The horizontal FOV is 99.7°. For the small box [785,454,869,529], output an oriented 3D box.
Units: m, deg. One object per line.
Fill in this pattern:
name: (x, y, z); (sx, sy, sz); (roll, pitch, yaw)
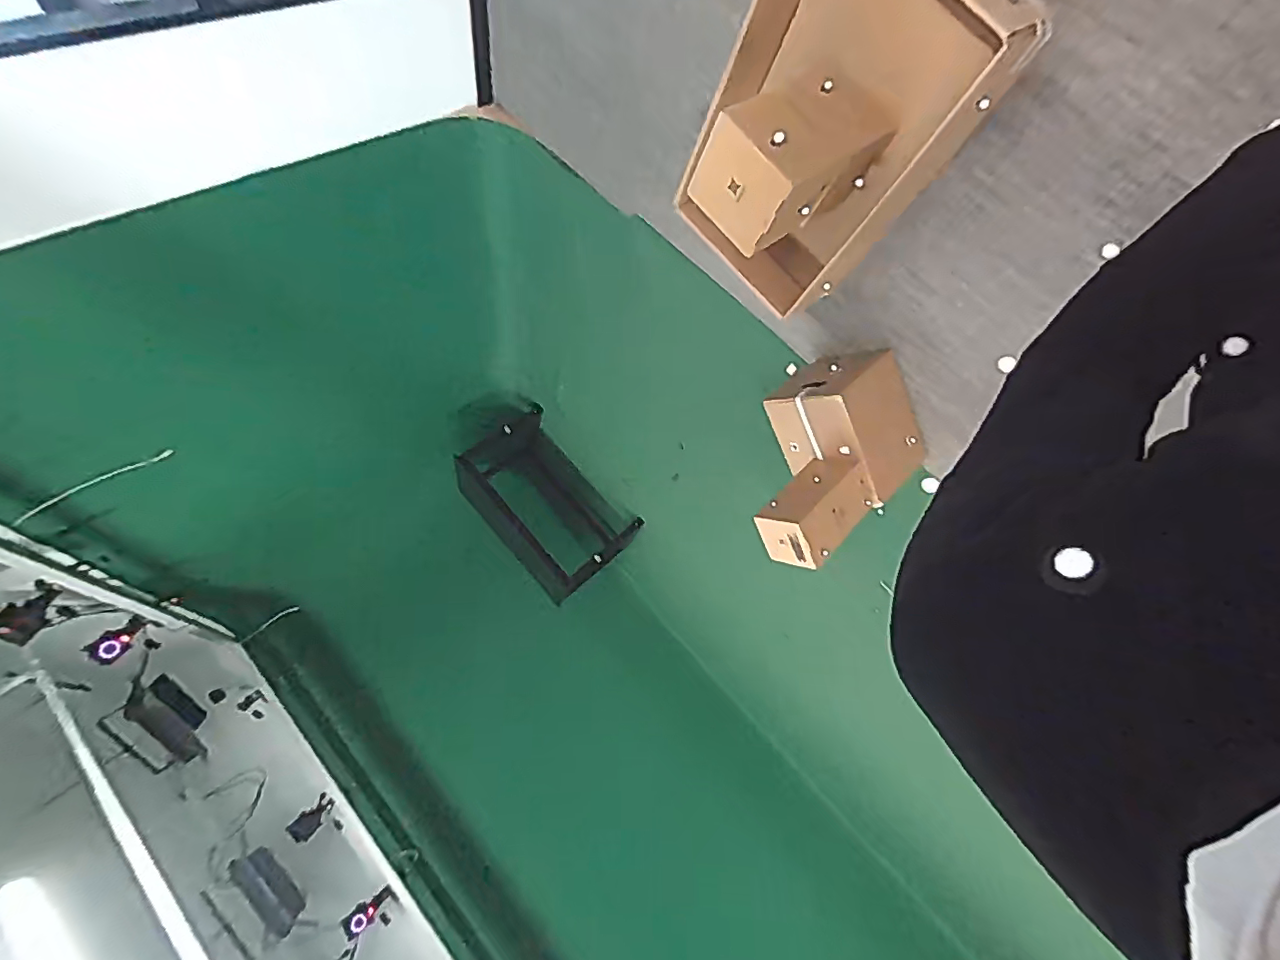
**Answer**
small box: (0.595, 0.031, 1.702); (0.179, 0.176, 0.168); (8, 130, 54)

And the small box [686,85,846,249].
small box: (0.219, -0.555, 0.955); (0.179, 0.176, 0.168); (48, 155, 5)
